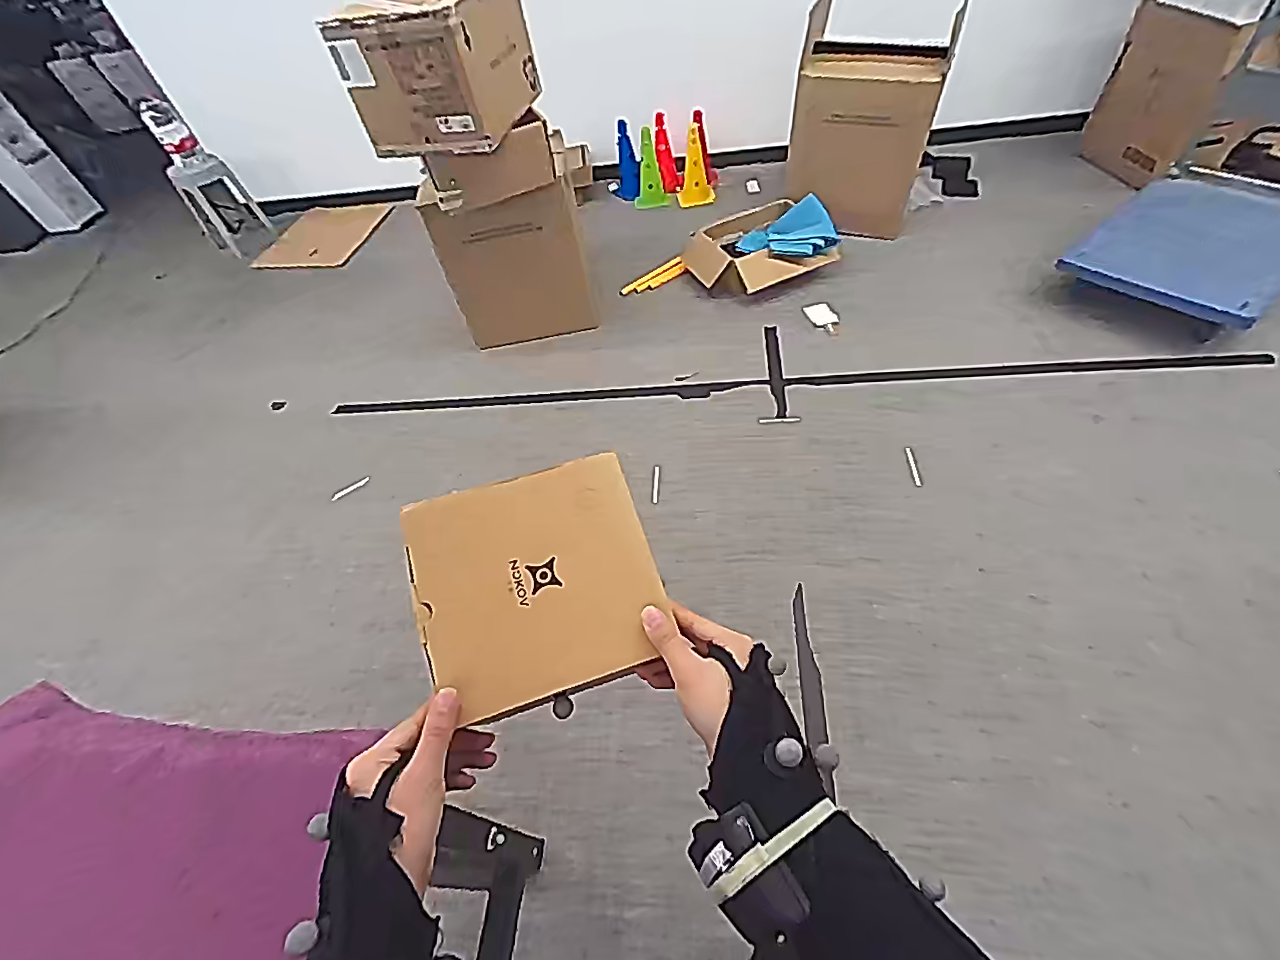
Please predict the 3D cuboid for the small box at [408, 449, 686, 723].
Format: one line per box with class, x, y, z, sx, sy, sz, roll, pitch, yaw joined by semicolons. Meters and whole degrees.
small box;-0.079;0.097;0.476;0.179;0.176;0.168;-16;70;-11
